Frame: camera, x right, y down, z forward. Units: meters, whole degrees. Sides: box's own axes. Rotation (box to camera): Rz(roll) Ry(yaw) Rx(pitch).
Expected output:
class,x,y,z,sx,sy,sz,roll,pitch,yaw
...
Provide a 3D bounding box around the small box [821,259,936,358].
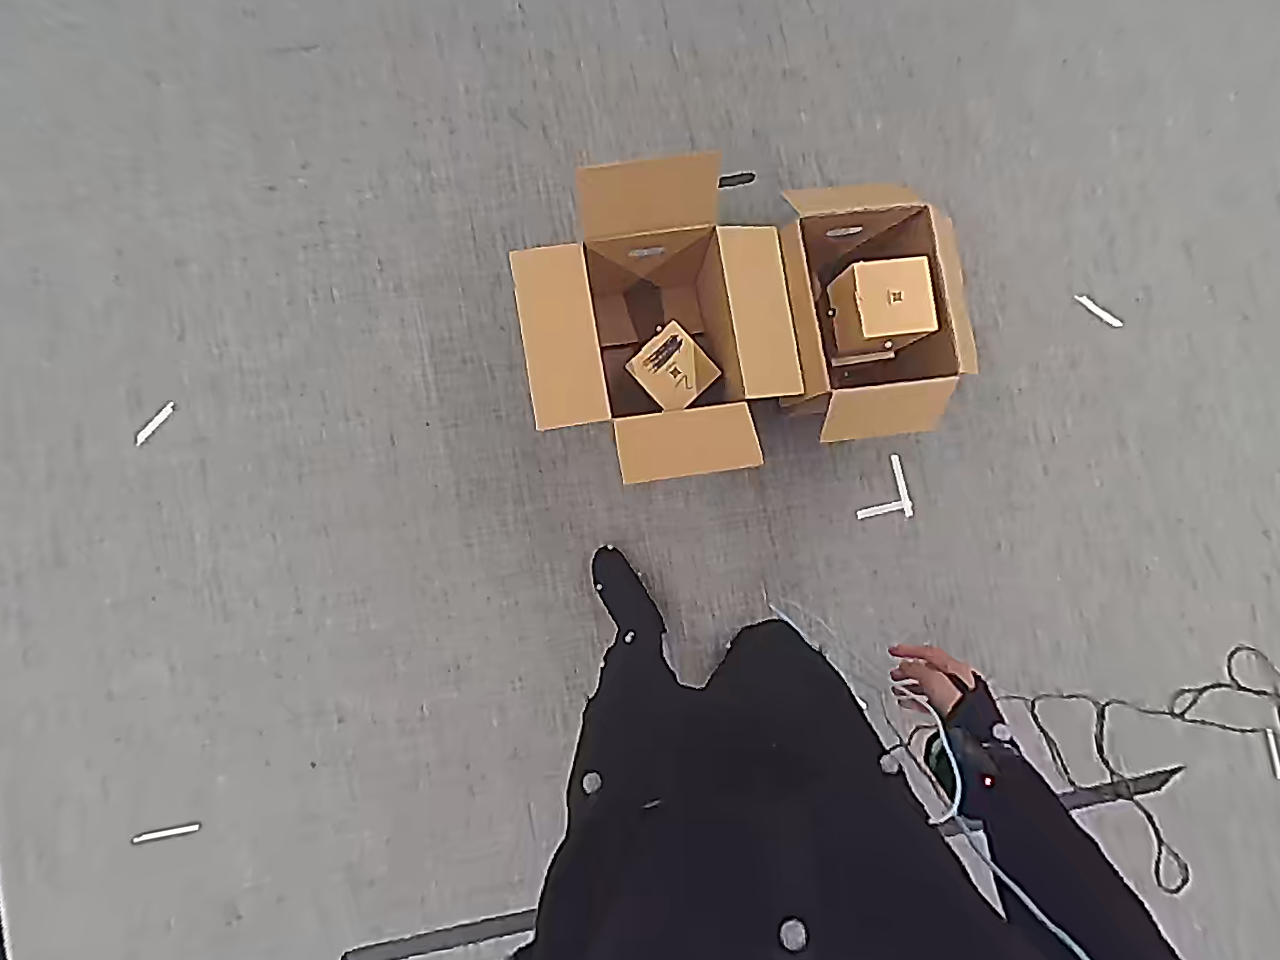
class,x,y,z,sx,sy,sz,roll,pitch,yaw
small box,0.541,-0.387,1.244,0.179,0.176,0.168,-8,89,-4
